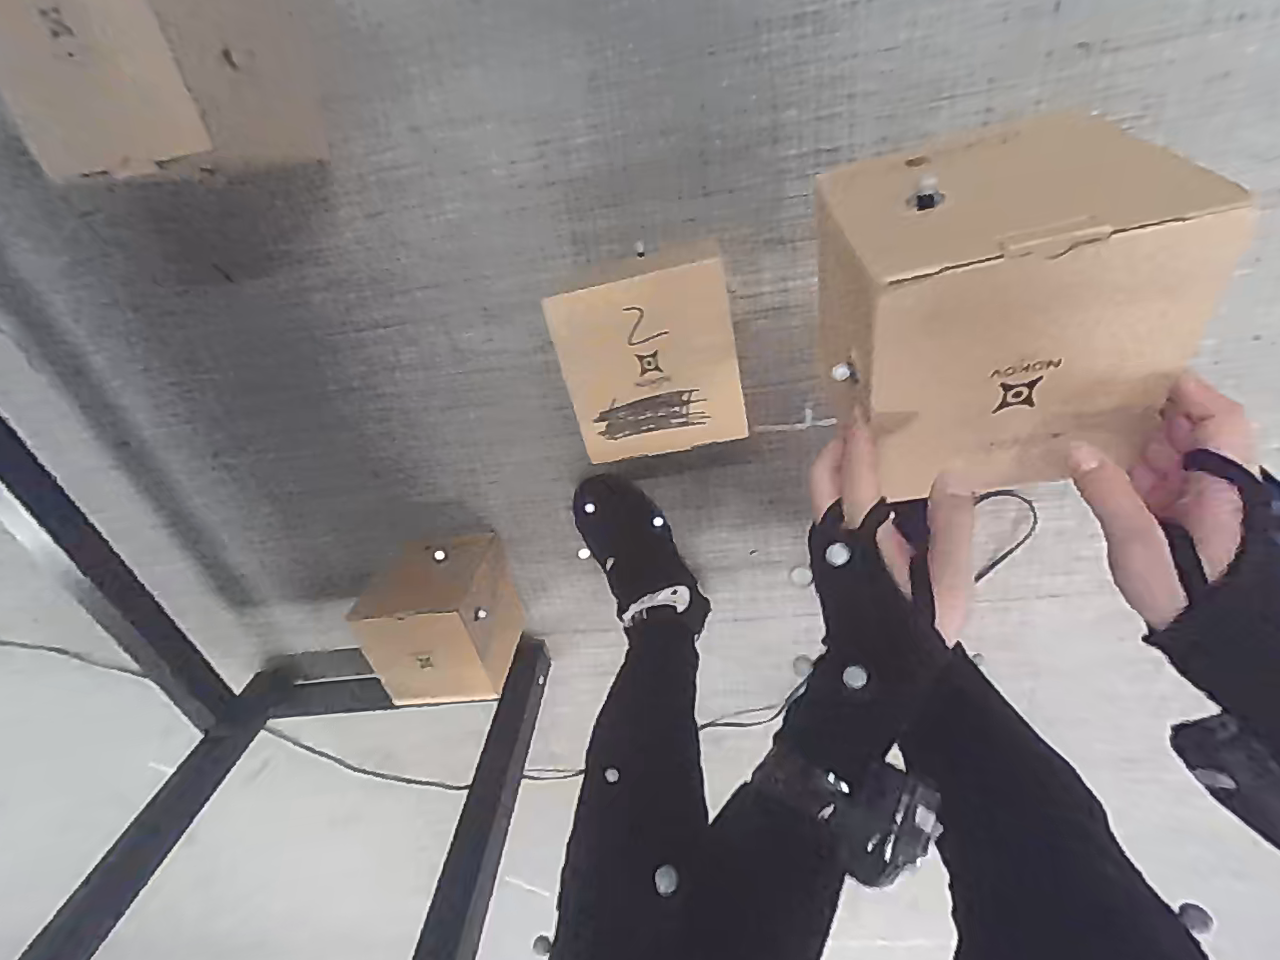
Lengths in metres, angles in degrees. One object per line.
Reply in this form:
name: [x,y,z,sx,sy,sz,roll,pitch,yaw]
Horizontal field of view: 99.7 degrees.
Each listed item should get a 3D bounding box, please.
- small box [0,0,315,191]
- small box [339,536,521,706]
small box: [-0.435,-0.370,0.480,0.168,0.176,0.179,-5,120,8]
small box: [-0.293,0.207,0.805,0.168,0.176,0.179,-8,119,9]
